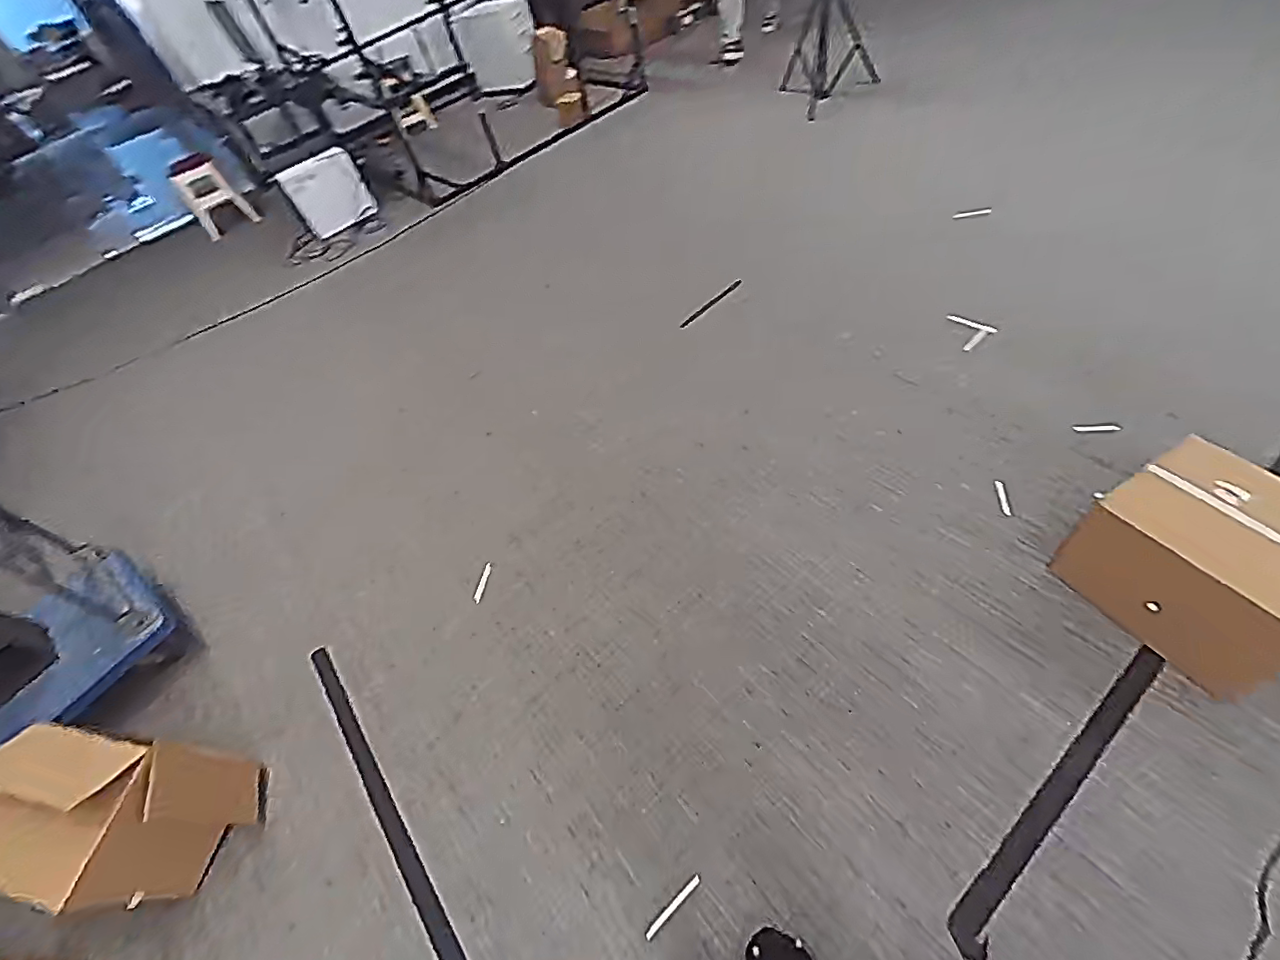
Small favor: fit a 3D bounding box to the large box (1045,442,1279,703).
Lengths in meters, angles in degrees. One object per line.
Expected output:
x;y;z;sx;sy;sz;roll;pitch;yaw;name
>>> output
1.237;0.197;1.195;0.320;0.320;0.408;-30;49;-10;large box
